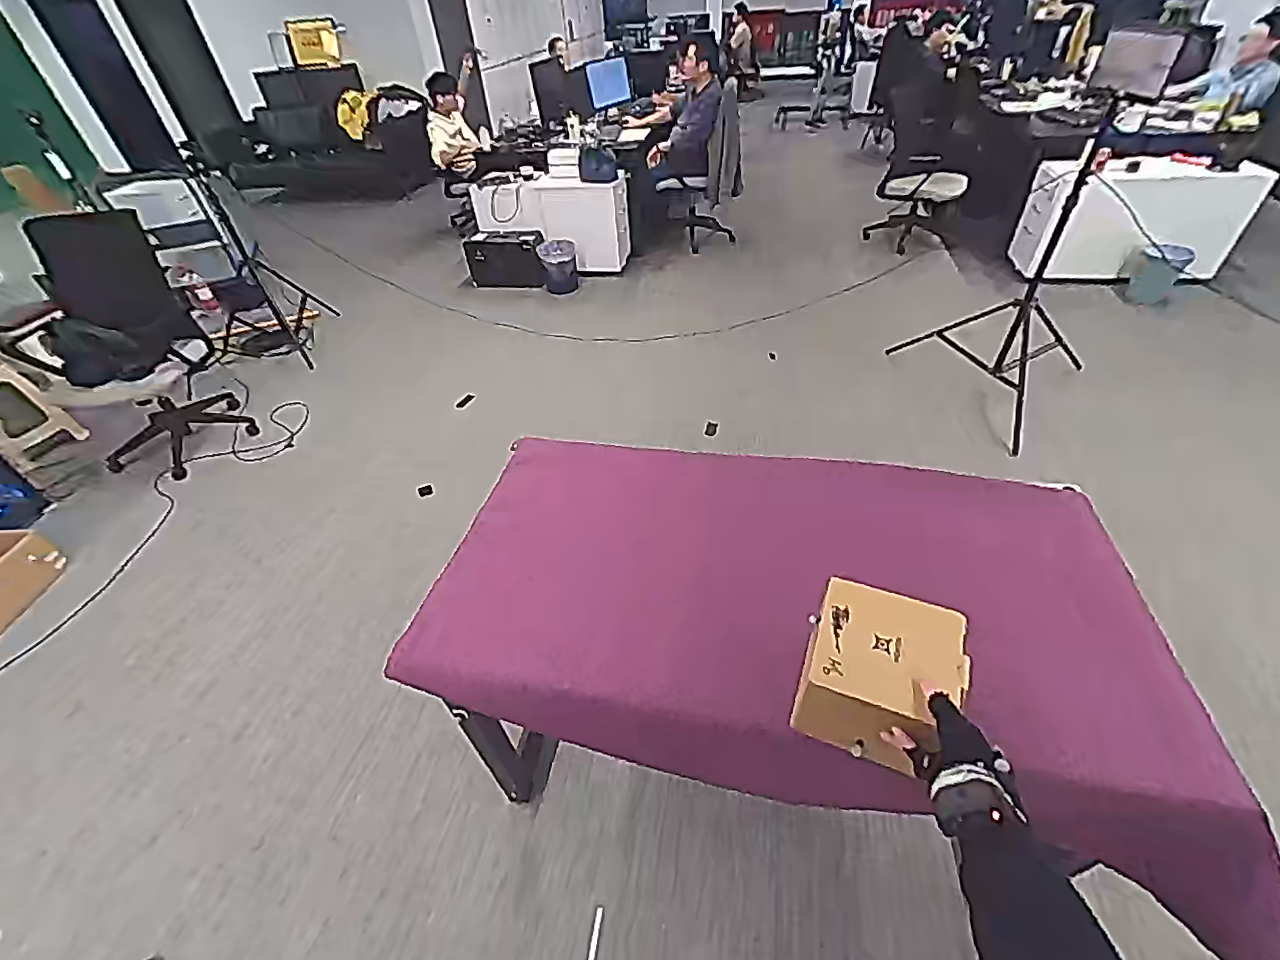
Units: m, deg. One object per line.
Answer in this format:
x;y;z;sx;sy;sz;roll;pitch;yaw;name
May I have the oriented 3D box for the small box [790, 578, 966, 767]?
0.322;0.269;0.747;0.179;0.176;0.168;15;50;18;small box
